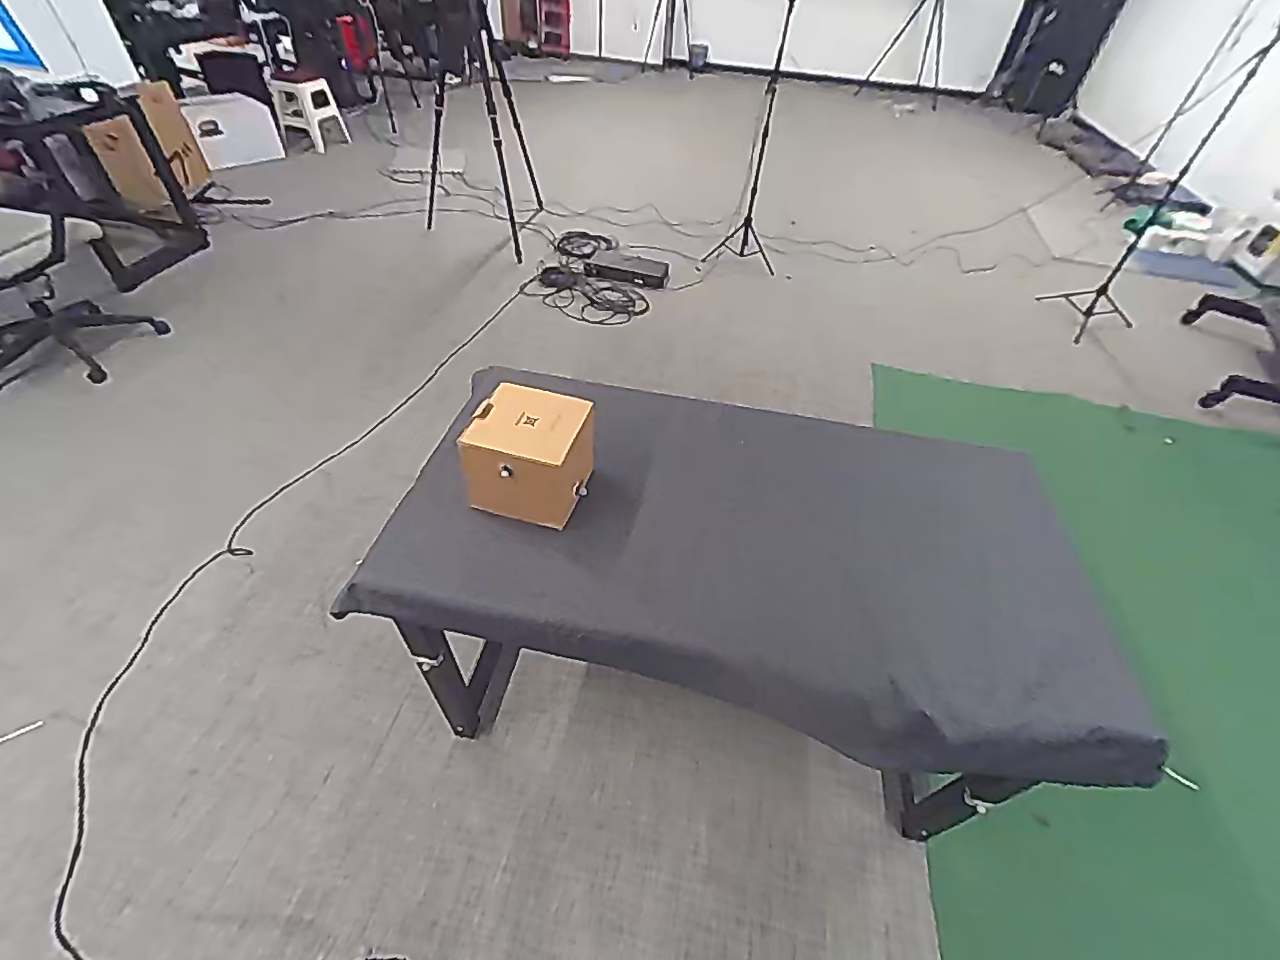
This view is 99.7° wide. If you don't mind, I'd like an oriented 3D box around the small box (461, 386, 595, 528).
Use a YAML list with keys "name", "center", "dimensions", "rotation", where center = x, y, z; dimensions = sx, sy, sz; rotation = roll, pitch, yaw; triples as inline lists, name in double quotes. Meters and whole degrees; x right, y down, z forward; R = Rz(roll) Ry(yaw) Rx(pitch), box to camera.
- name: "small box"
  center: [-0.187, -0.038, 0.955]
  dimensions: [0.179, 0.176, 0.168]
  rotation: [14, 48, 7]
